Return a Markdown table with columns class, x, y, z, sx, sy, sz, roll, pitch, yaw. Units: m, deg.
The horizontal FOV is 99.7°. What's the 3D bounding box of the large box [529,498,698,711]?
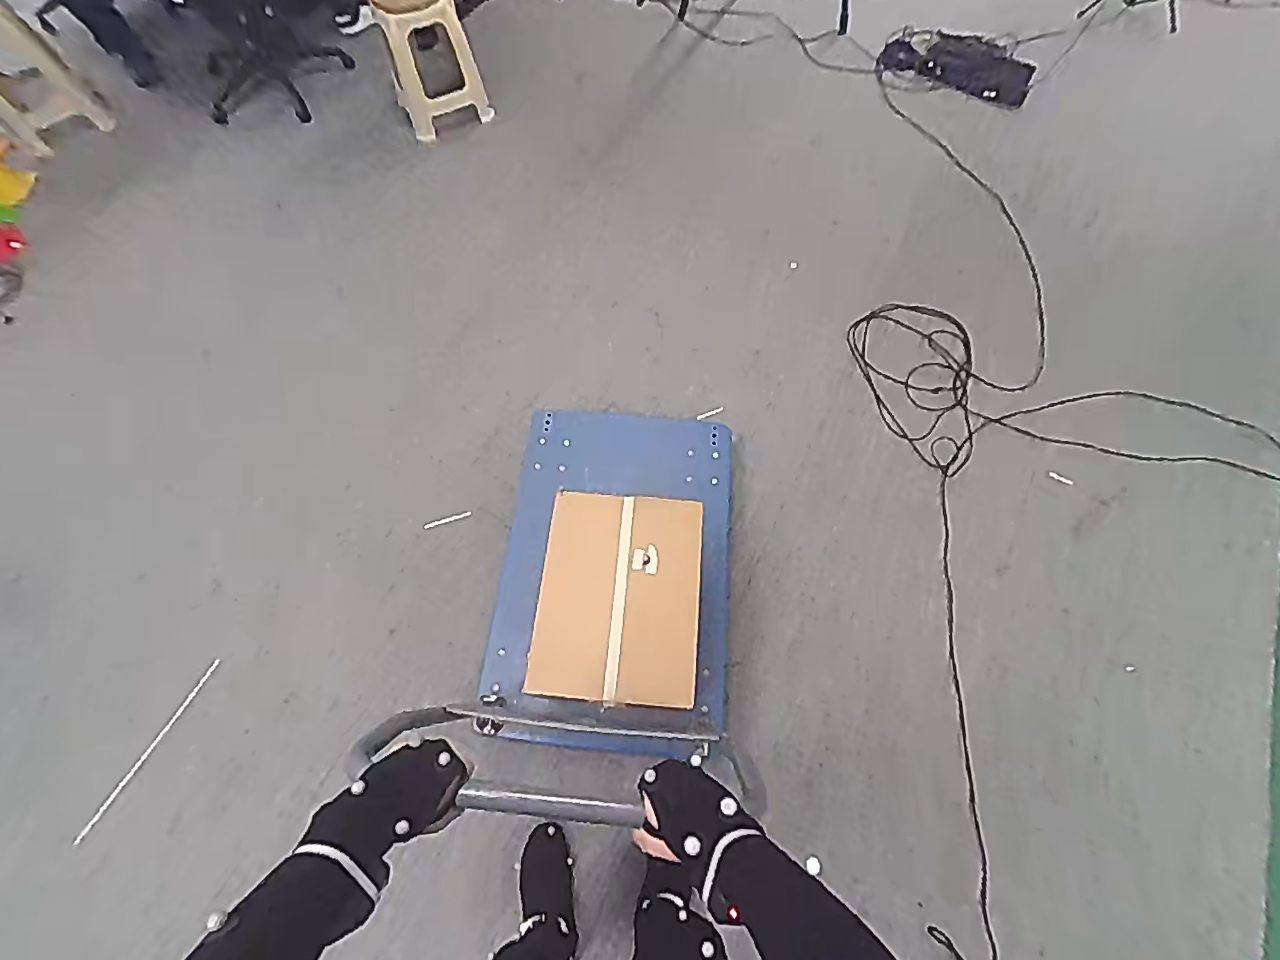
| class | x | y | z | sx | sy | sz | roll | pitch | yaw |
| --- | --- | --- | --- | --- | --- | --- | --- | --- | --- |
| large box | -0.039 | 0.289 | 1.213 | 0.320 | 0.320 | 0.408 | 4 | 65 | 2 |
